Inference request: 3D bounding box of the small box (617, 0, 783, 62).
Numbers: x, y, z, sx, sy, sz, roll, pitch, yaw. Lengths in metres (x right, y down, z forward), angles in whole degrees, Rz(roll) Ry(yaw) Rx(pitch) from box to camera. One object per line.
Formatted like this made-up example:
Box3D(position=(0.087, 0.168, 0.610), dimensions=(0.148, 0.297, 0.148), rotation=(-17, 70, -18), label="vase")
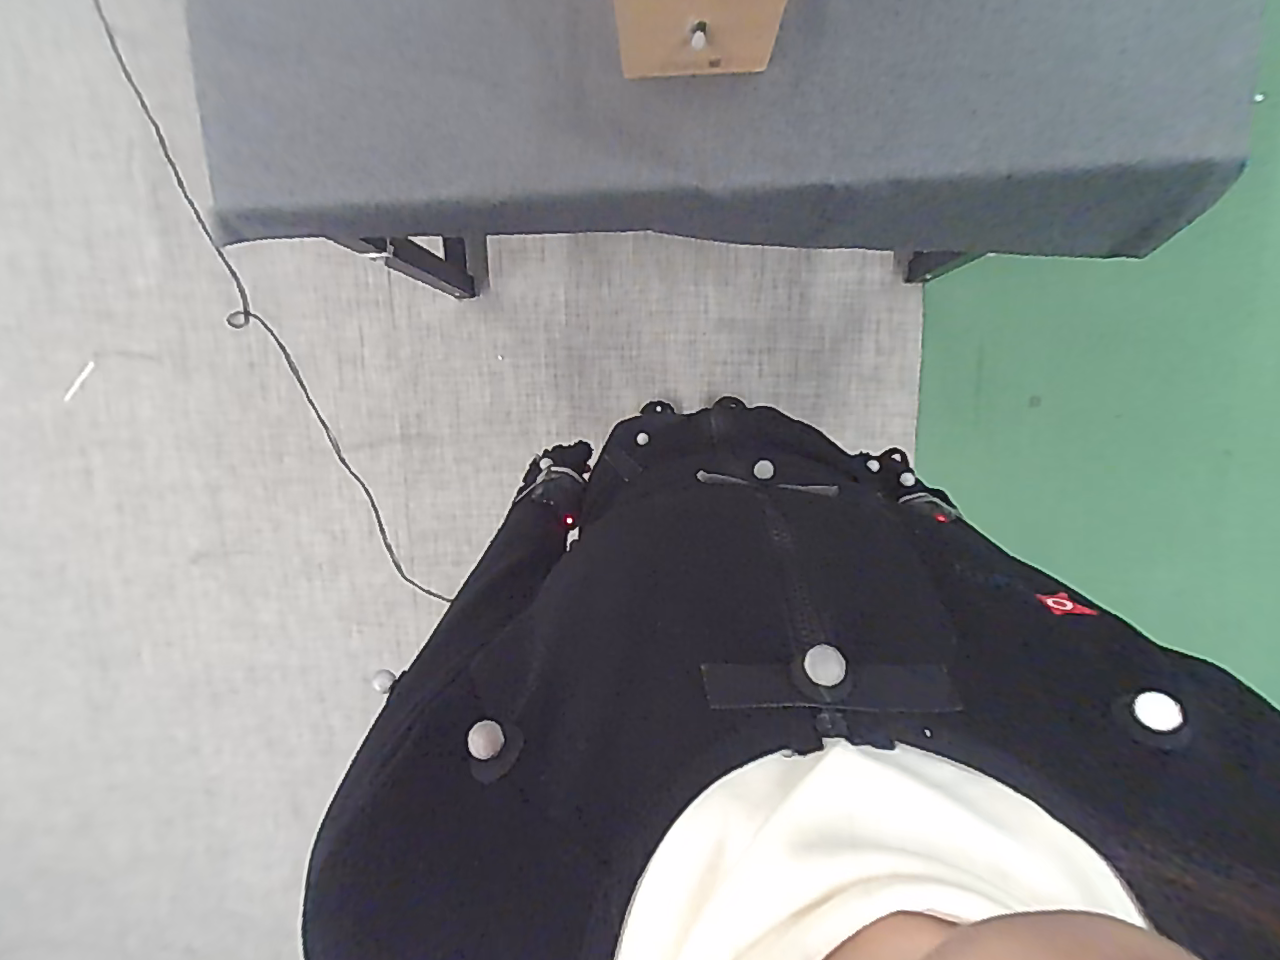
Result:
Box3D(position=(0.059, -0.546, 0.527), dimensions=(0.168, 0.176, 0.179), rotation=(-1, 99, 4), label="small box")
